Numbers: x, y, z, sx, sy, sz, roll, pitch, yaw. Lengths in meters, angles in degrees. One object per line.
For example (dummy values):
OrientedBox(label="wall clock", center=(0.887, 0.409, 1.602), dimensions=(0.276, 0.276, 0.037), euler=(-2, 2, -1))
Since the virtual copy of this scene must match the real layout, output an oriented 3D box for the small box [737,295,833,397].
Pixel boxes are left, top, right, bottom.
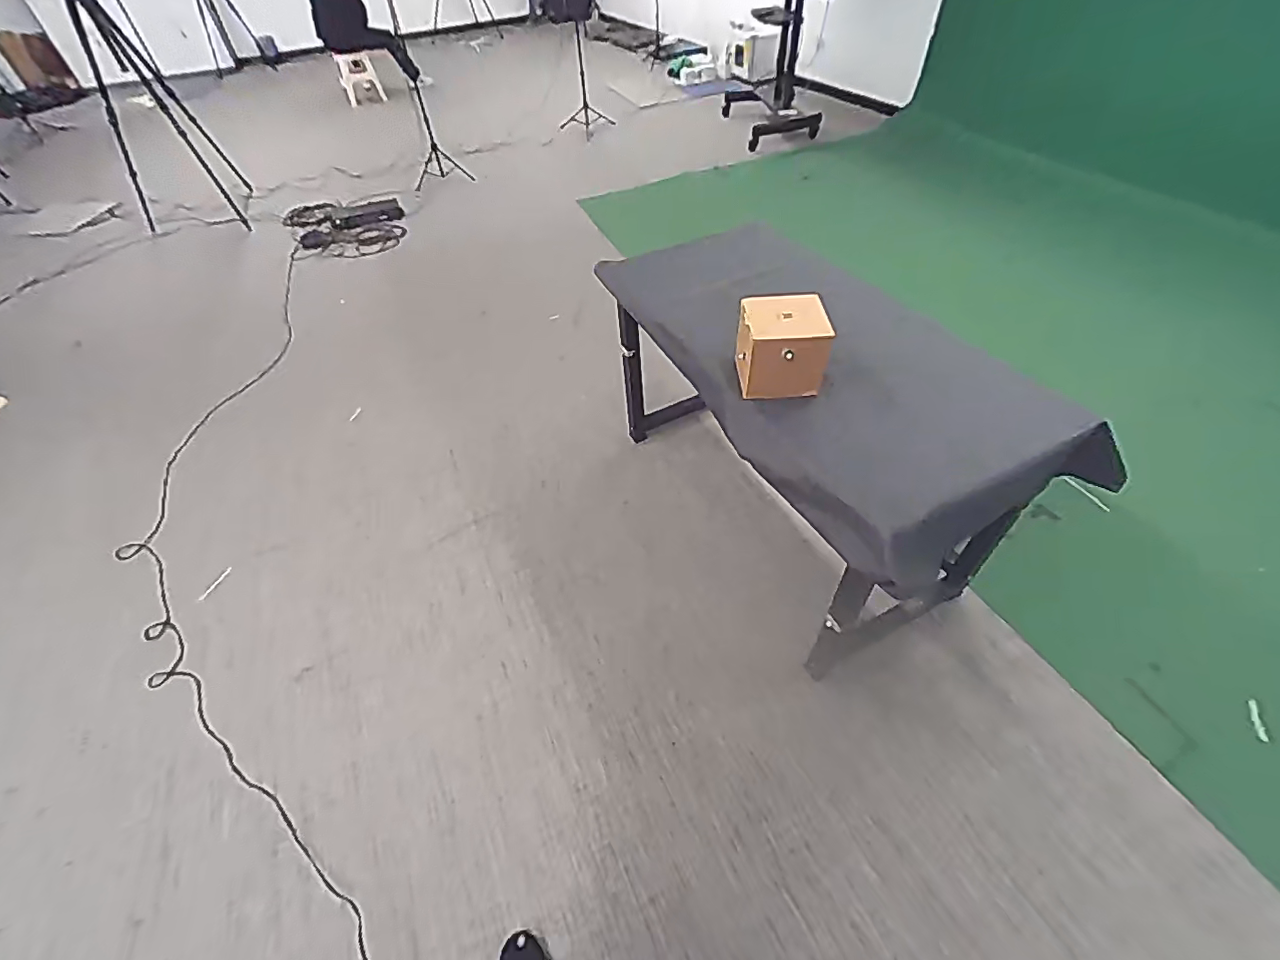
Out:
OrientedBox(label="small box", center=(0.320, -0.304, 1.242), dimensions=(0.179, 0.176, 0.168), euler=(-2, 50, 0))
